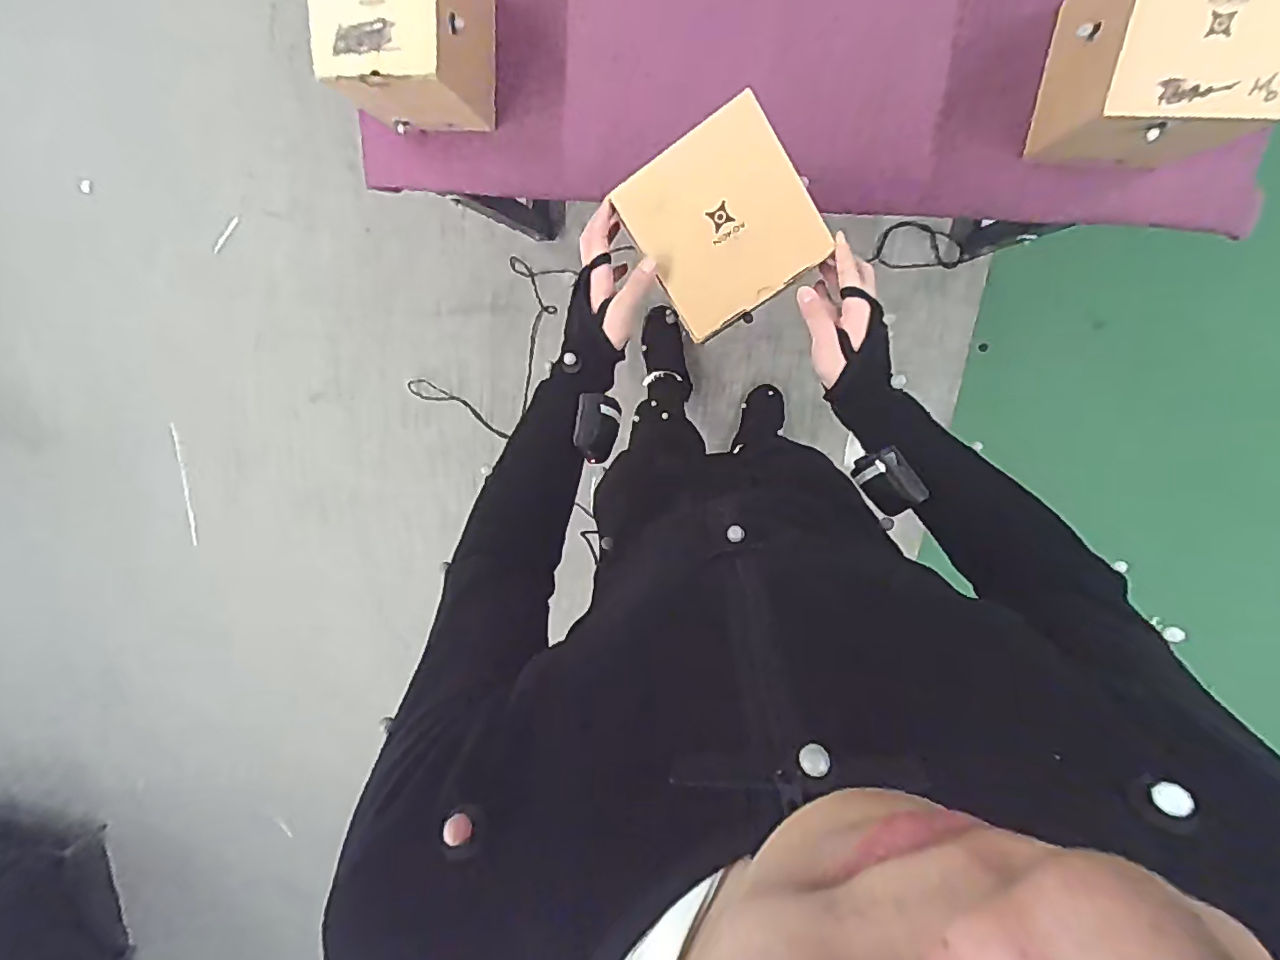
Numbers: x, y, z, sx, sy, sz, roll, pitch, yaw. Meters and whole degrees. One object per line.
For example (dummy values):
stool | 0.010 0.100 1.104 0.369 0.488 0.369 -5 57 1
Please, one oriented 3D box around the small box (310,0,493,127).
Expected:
small box | -0.306 -0.596 0.720 0.168 0.176 0.179 6 105 9

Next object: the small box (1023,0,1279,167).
small box | 0.560 -0.466 0.589 0.168 0.176 0.179 8 107 10
